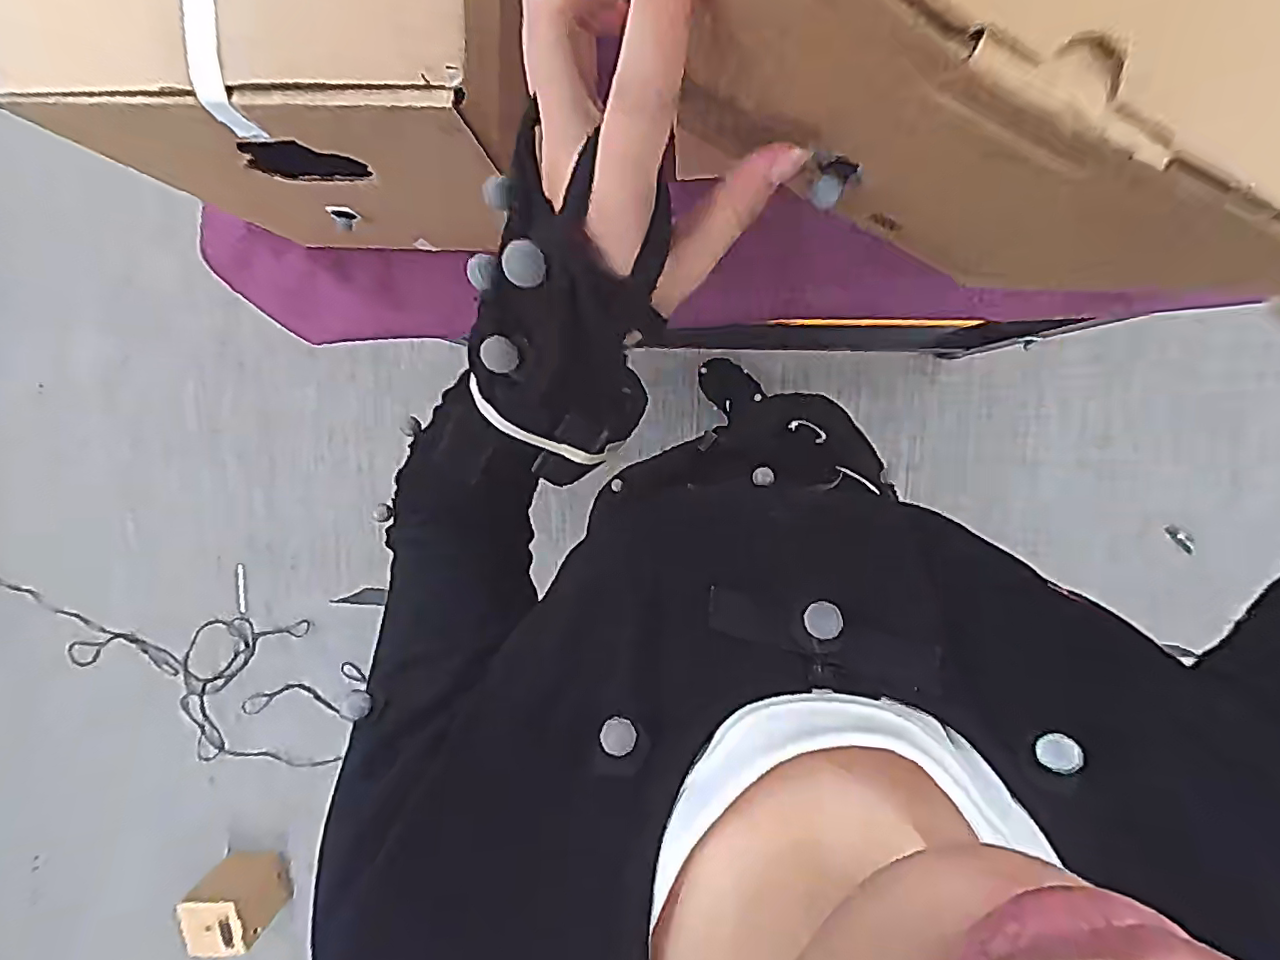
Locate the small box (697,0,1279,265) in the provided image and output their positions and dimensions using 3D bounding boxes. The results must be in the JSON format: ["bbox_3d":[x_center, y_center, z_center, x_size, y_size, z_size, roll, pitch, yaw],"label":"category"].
[{"bbox_3d":[0.123,-0.174,0.138,0.168,0.176,0.179,23,110,-7],"label":"small box"}]
